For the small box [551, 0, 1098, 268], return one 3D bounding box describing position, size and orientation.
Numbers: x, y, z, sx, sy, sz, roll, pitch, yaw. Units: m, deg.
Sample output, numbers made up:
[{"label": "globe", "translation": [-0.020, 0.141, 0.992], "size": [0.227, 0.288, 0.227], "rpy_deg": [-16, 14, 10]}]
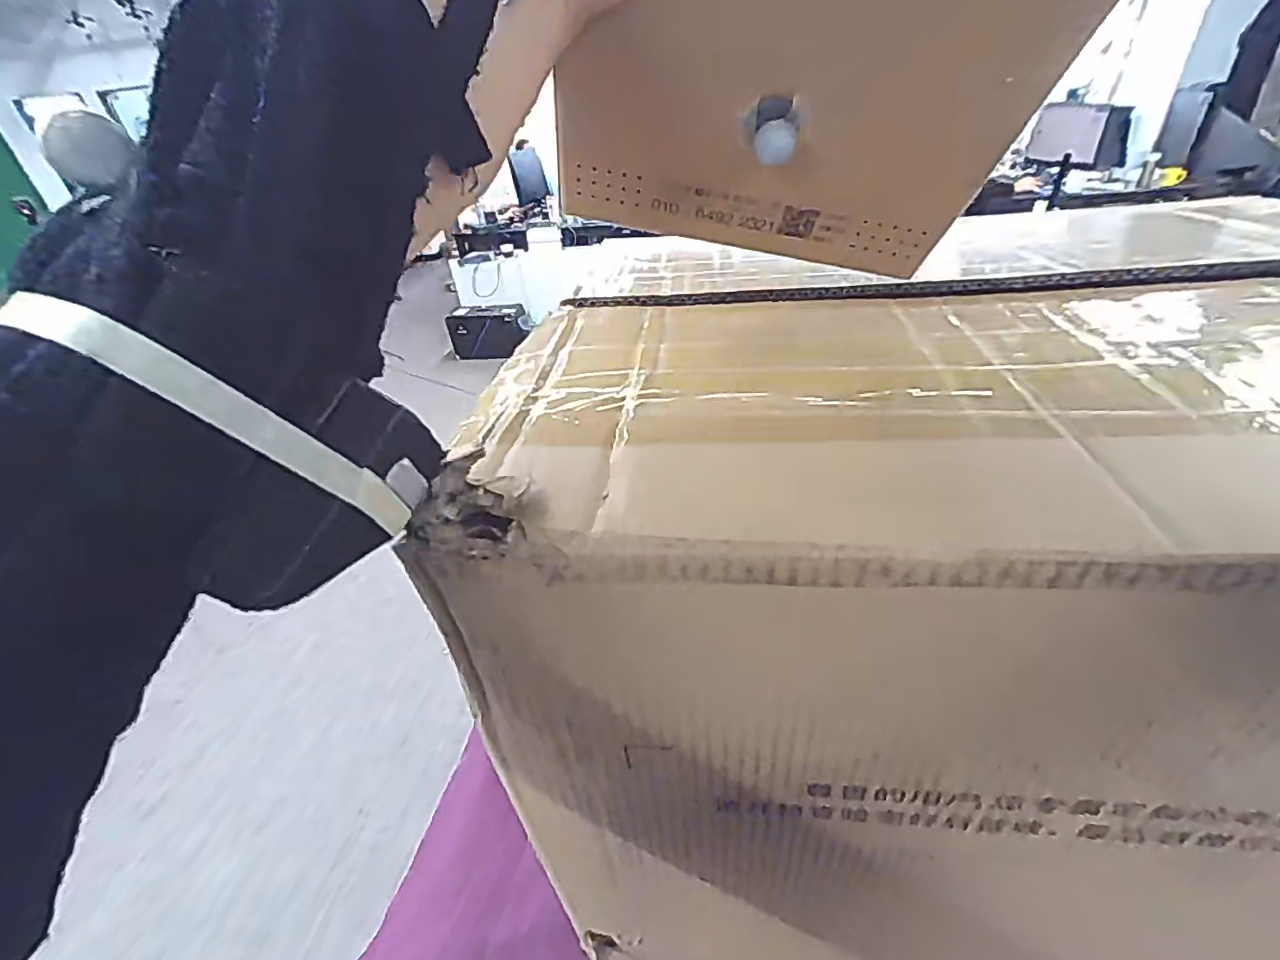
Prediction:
[{"label": "small box", "translation": [0.061, -0.216, 0.202], "size": [0.168, 0.176, 0.179], "rpy_deg": [10, 65, -1]}]
